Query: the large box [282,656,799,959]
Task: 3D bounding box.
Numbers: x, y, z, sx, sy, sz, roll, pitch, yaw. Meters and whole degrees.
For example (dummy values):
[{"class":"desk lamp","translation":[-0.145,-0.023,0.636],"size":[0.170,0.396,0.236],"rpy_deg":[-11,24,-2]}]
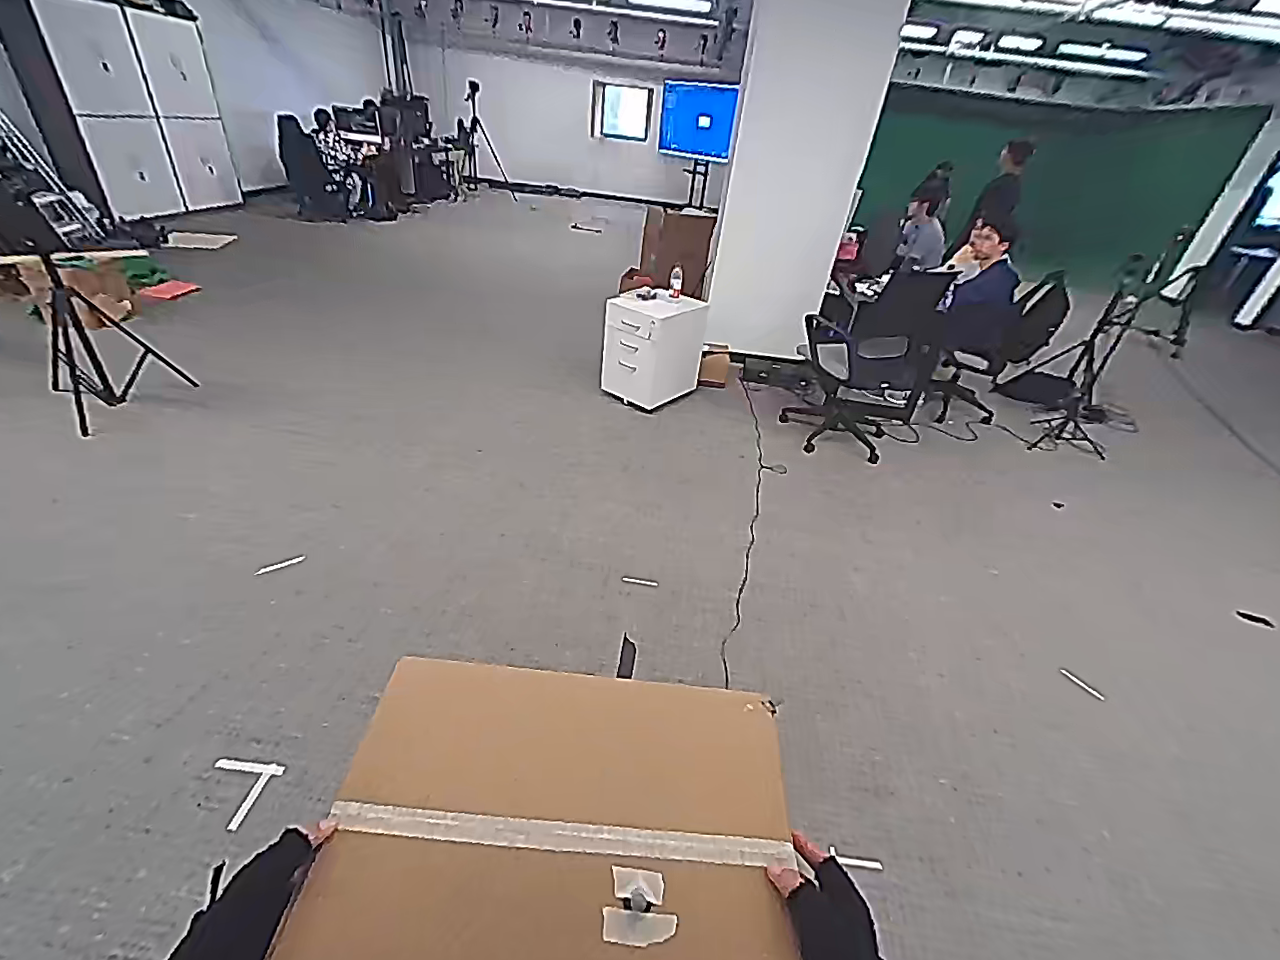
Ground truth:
[{"class":"large box","translation":[-0.082,0.427,0.582],"size":[0.408,0.320,0.320],"rpy_deg":[7,39,-2]}]
